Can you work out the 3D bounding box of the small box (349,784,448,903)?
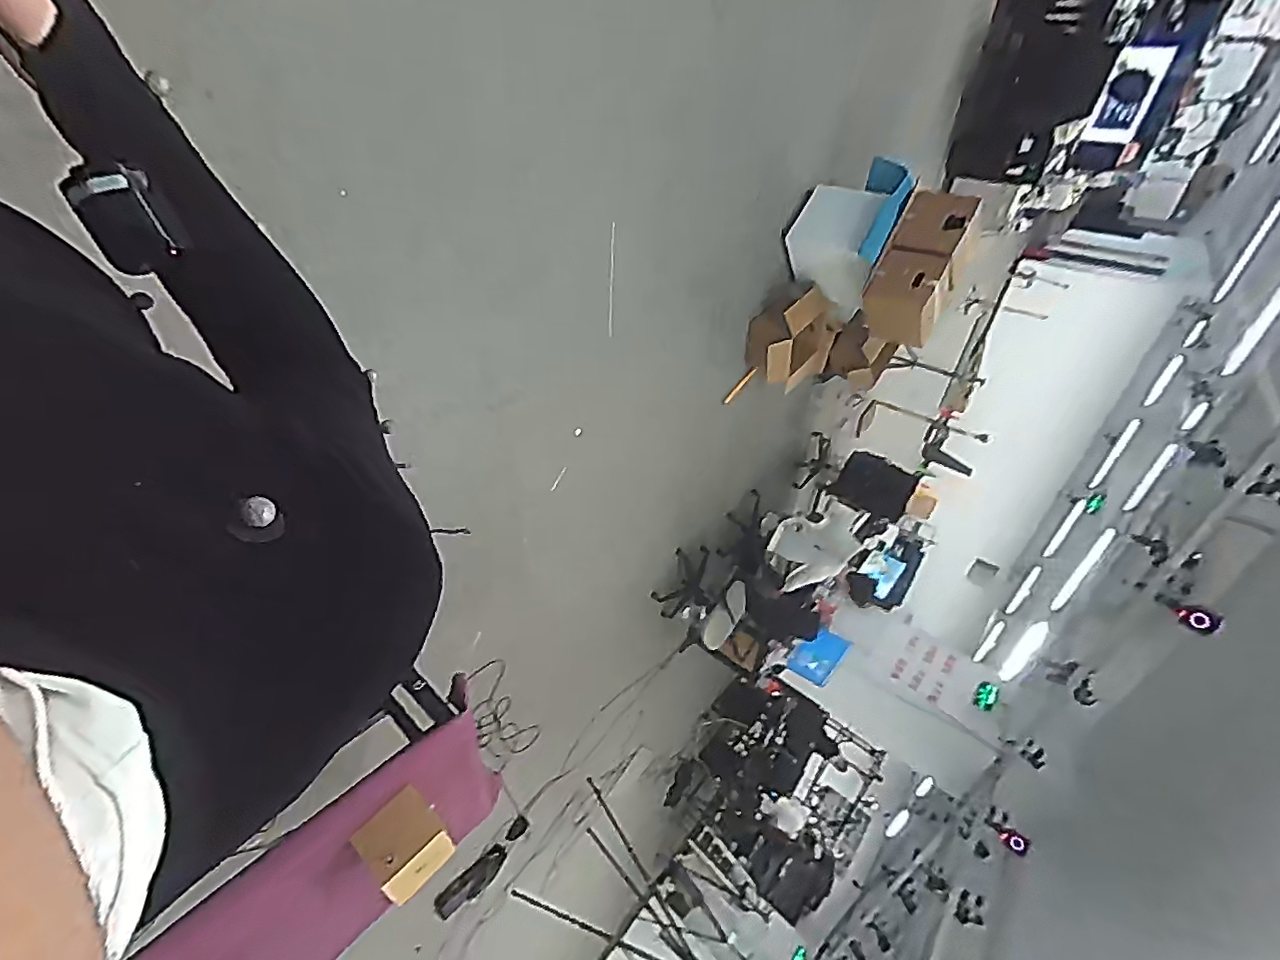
[{"bbox_3d":[-0.651,0.969,1.451,0.179,0.176,0.168,-36,143,-37],"label":"small box"}]
